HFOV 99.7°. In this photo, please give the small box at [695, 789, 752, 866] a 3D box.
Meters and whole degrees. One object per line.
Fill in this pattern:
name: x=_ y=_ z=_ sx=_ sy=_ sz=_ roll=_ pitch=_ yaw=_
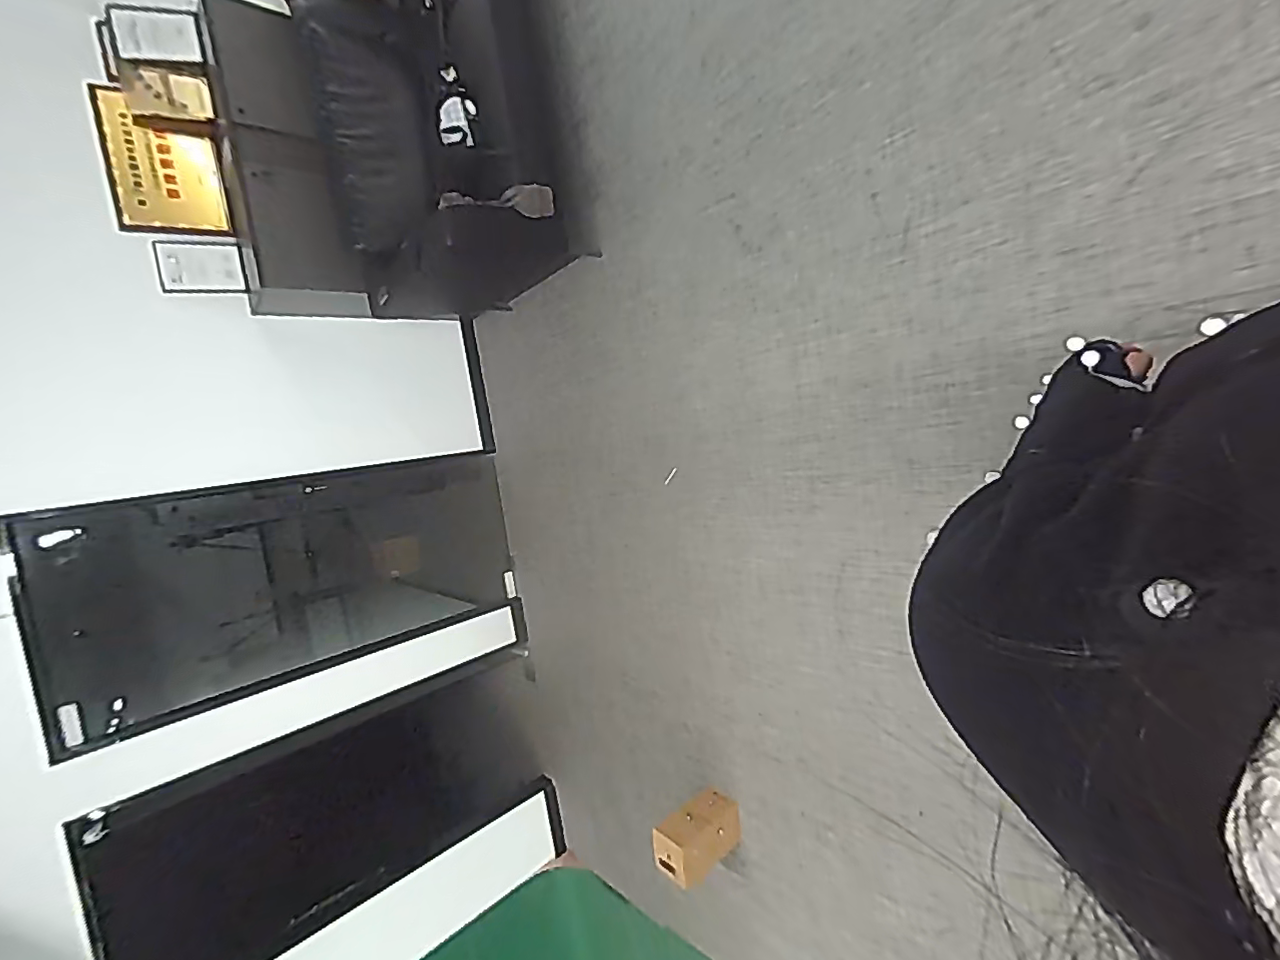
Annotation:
small box: x=0.347 y=1.423 z=2.228 sx=0.168 sy=0.176 sz=0.179 roll=4 pitch=102 yaw=49
